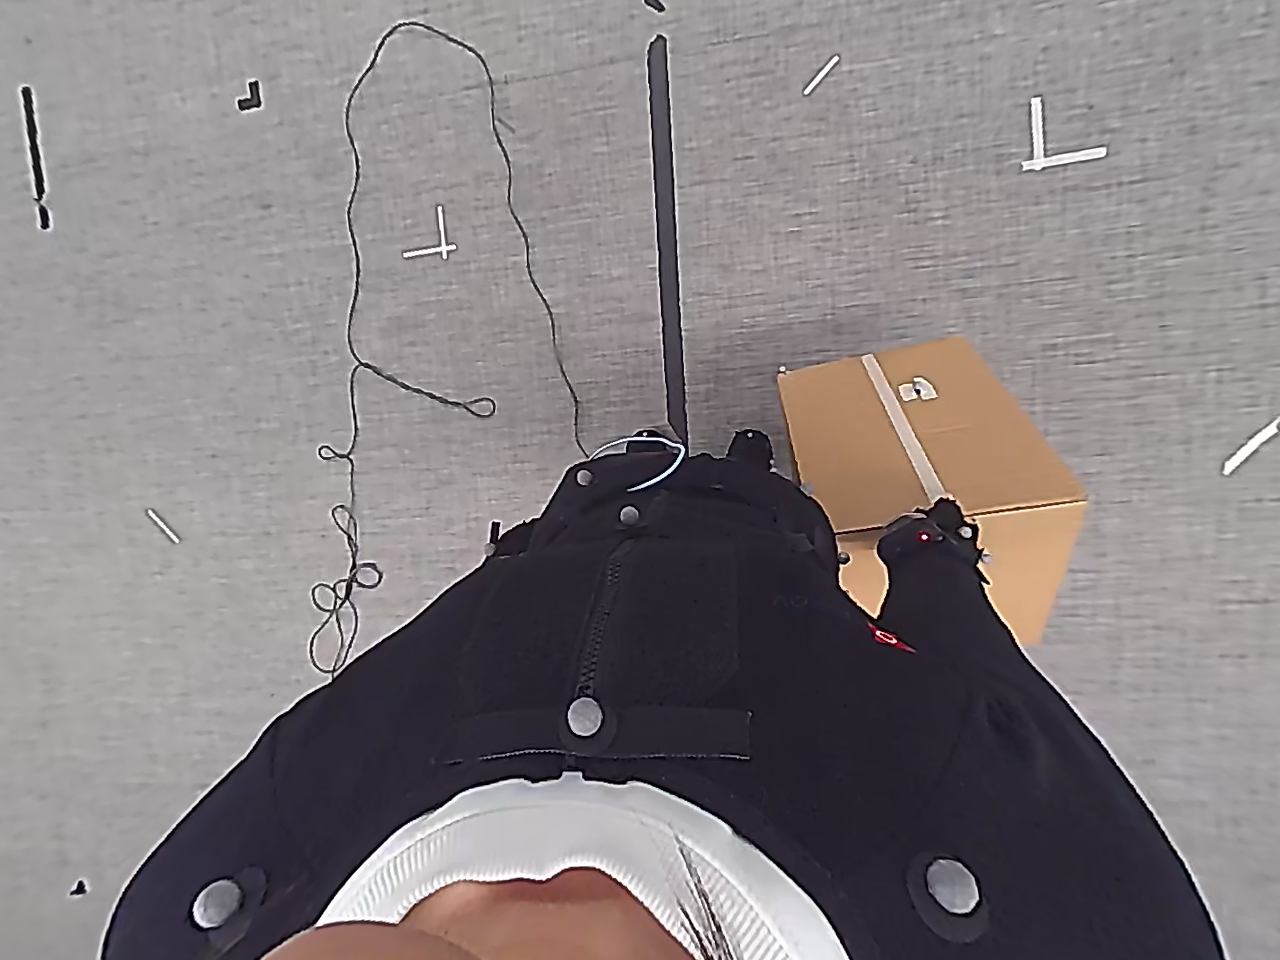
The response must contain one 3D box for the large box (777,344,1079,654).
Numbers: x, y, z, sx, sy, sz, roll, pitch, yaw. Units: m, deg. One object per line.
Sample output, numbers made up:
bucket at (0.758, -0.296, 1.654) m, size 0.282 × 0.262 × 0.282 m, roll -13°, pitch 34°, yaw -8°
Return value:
large box at (0.435, 0.027, 0.921) m, size 0.320 × 0.408 × 0.320 m, roll -9°, pitch 130°, yaw 12°
